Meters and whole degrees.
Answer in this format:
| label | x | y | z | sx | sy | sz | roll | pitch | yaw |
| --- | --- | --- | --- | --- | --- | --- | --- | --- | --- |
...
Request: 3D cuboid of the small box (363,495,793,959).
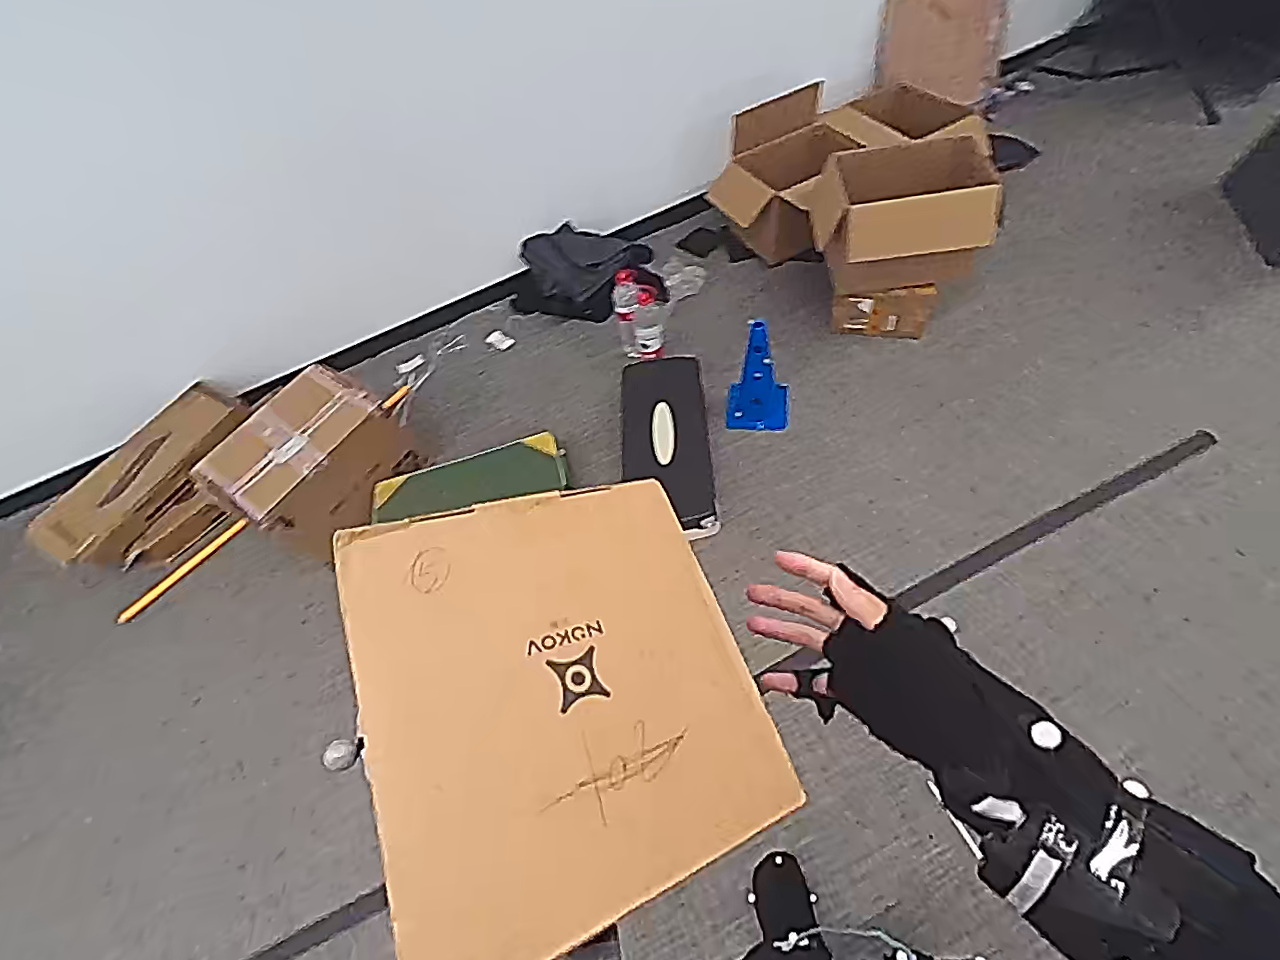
| label | x | y | z | sx | sy | sz | roll | pitch | yaw |
| --- | --- | --- | --- | --- | --- | --- | --- | --- | --- |
| small box | -0.057 | 0.132 | 0.308 | 0.168 | 0.176 | 0.179 | -8 | 62 | -29 |
